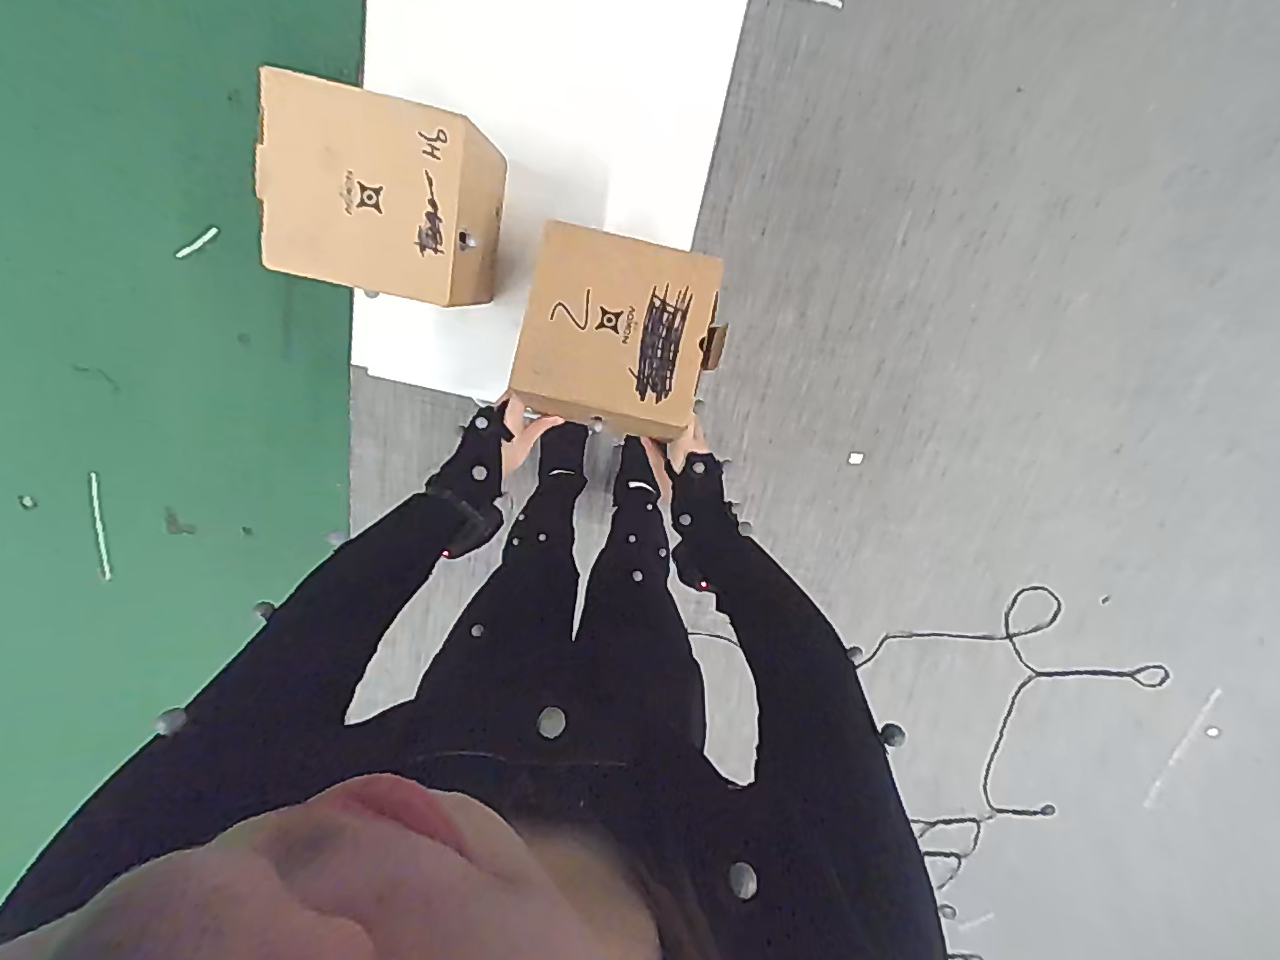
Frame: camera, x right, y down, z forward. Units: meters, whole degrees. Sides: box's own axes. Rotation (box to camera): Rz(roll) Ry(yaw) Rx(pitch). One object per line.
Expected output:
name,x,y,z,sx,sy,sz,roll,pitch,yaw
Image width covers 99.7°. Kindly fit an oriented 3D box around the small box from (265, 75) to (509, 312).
small box,-0.251,-0.279,0.567,0.179,0.176,0.168,12,109,-5
